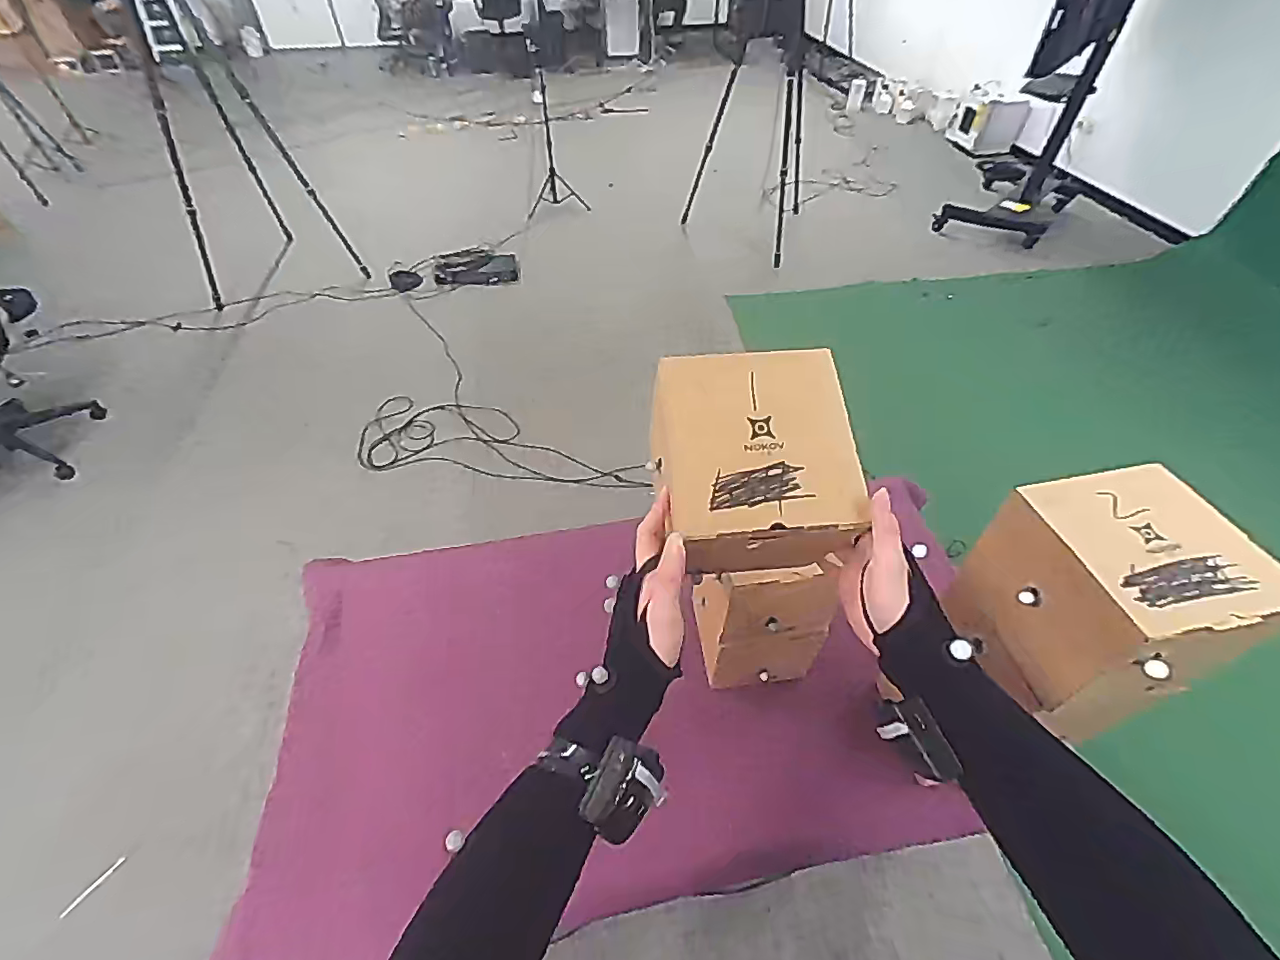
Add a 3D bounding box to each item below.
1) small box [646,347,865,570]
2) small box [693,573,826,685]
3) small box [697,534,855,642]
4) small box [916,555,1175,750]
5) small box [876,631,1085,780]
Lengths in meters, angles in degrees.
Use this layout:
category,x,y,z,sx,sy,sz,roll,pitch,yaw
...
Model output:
category,x,y,z,sx,sy,sz,roll,pitch,yaw
small box,0.097,-0.010,0.546,0.168,0.176,0.179,-4,70,-4
small box,0.187,0.221,0.910,0.168,0.176,0.179,-5,49,-4
small box,0.178,0.111,0.790,0.168,0.176,0.179,-7,50,-6
small box,0.487,0.220,0.690,0.168,0.176,0.179,-6,49,-3
small box,0.488,0.332,0.809,0.179,0.176,0.168,-5,48,-4
